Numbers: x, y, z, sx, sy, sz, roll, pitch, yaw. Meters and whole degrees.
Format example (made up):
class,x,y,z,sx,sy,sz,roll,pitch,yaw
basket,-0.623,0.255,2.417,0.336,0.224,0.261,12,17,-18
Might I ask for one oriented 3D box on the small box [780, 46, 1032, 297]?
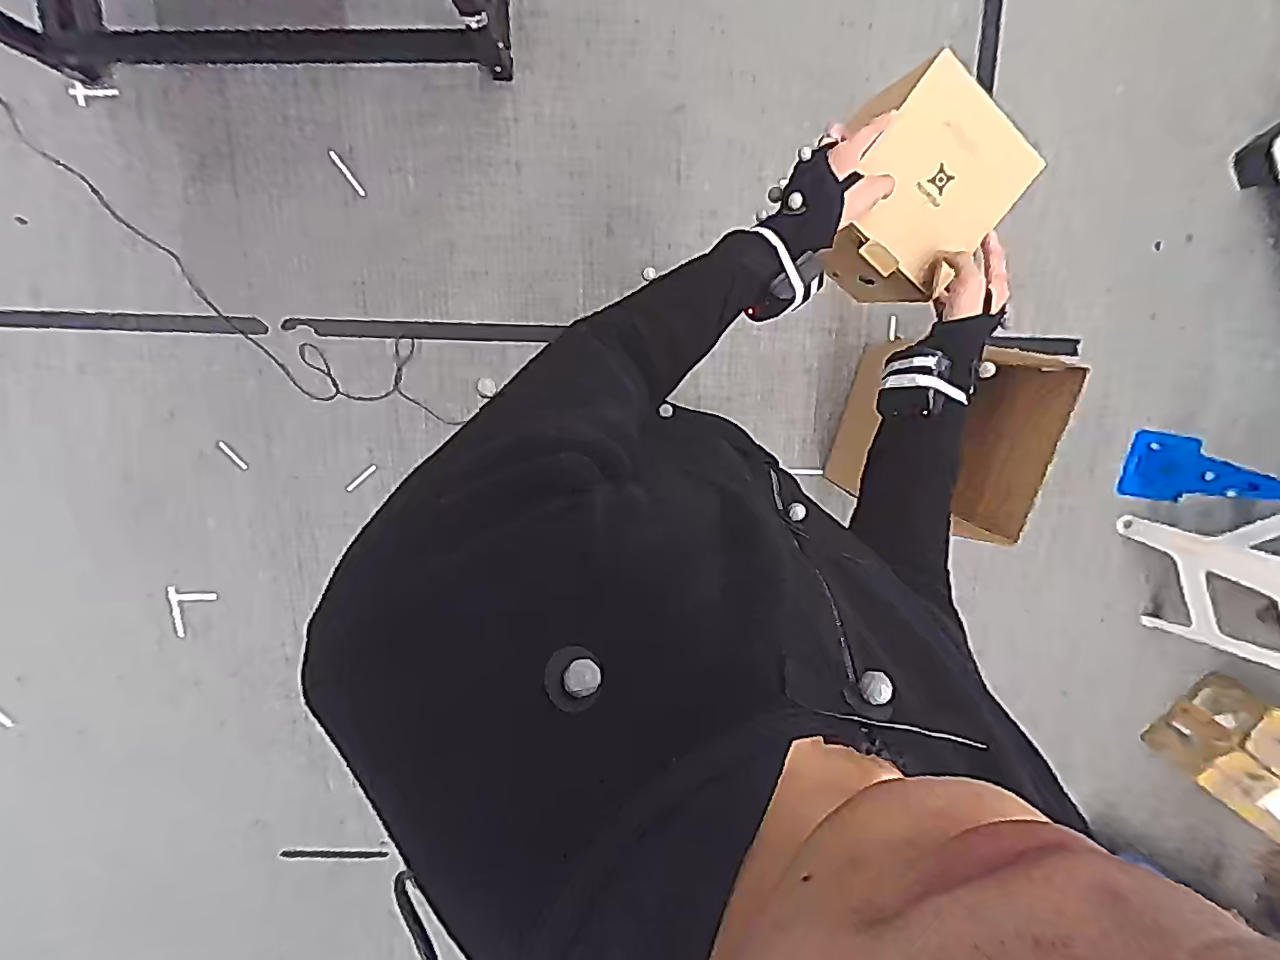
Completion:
class,x,y,z,sx,sy,sz,roll,pitch,yaw
small box,0.288,-0.335,0.636,0.168,0.176,0.179,34,101,-16
